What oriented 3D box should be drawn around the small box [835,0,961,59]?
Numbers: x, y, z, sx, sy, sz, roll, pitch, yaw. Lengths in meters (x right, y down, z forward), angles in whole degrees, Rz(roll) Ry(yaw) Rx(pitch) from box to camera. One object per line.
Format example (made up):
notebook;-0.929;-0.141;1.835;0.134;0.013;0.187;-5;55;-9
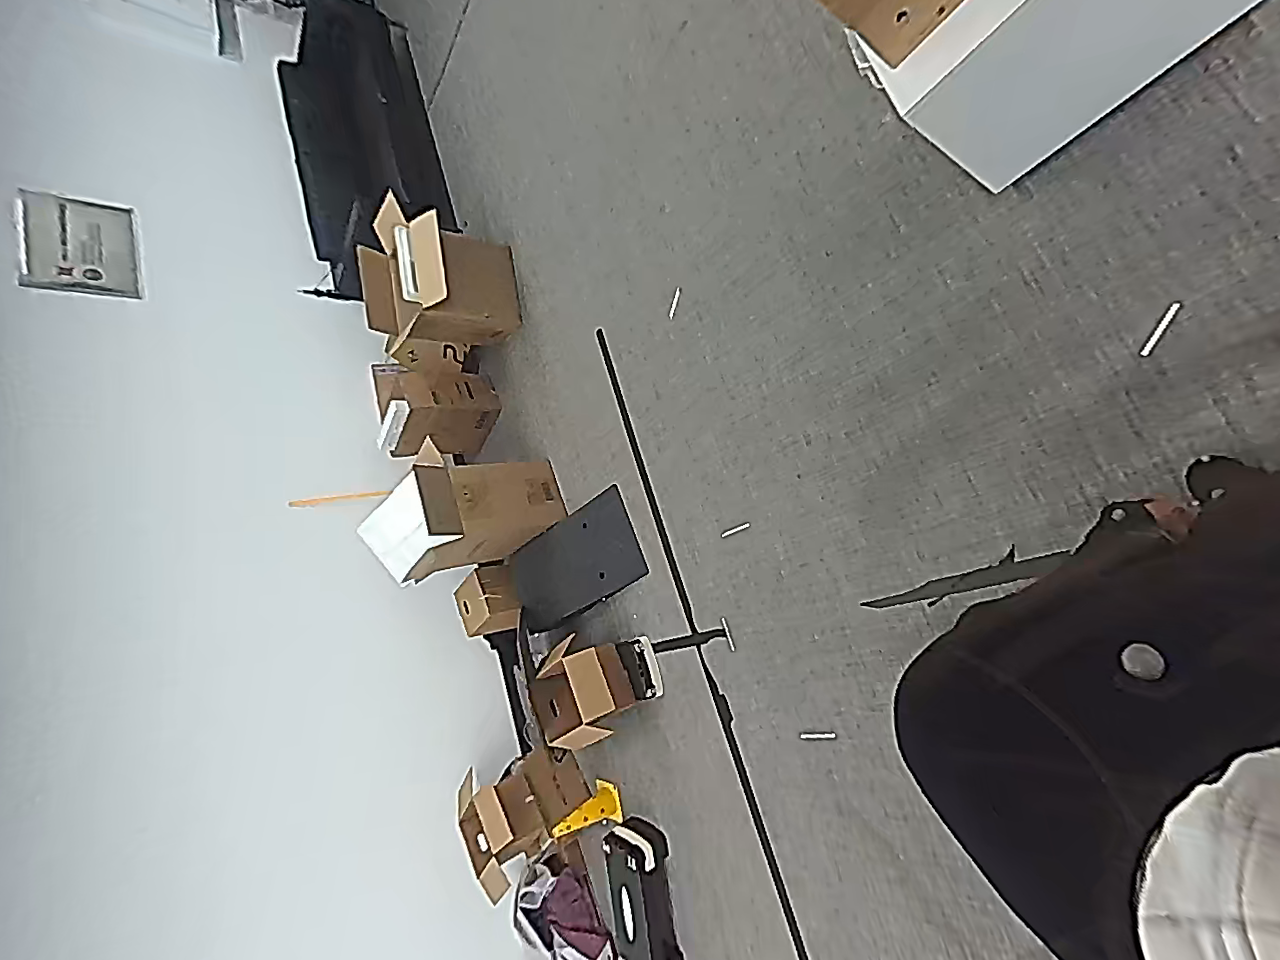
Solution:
small box;0.448;-0.887;0.944;0.168;0.176;0.179;-32;69;46
